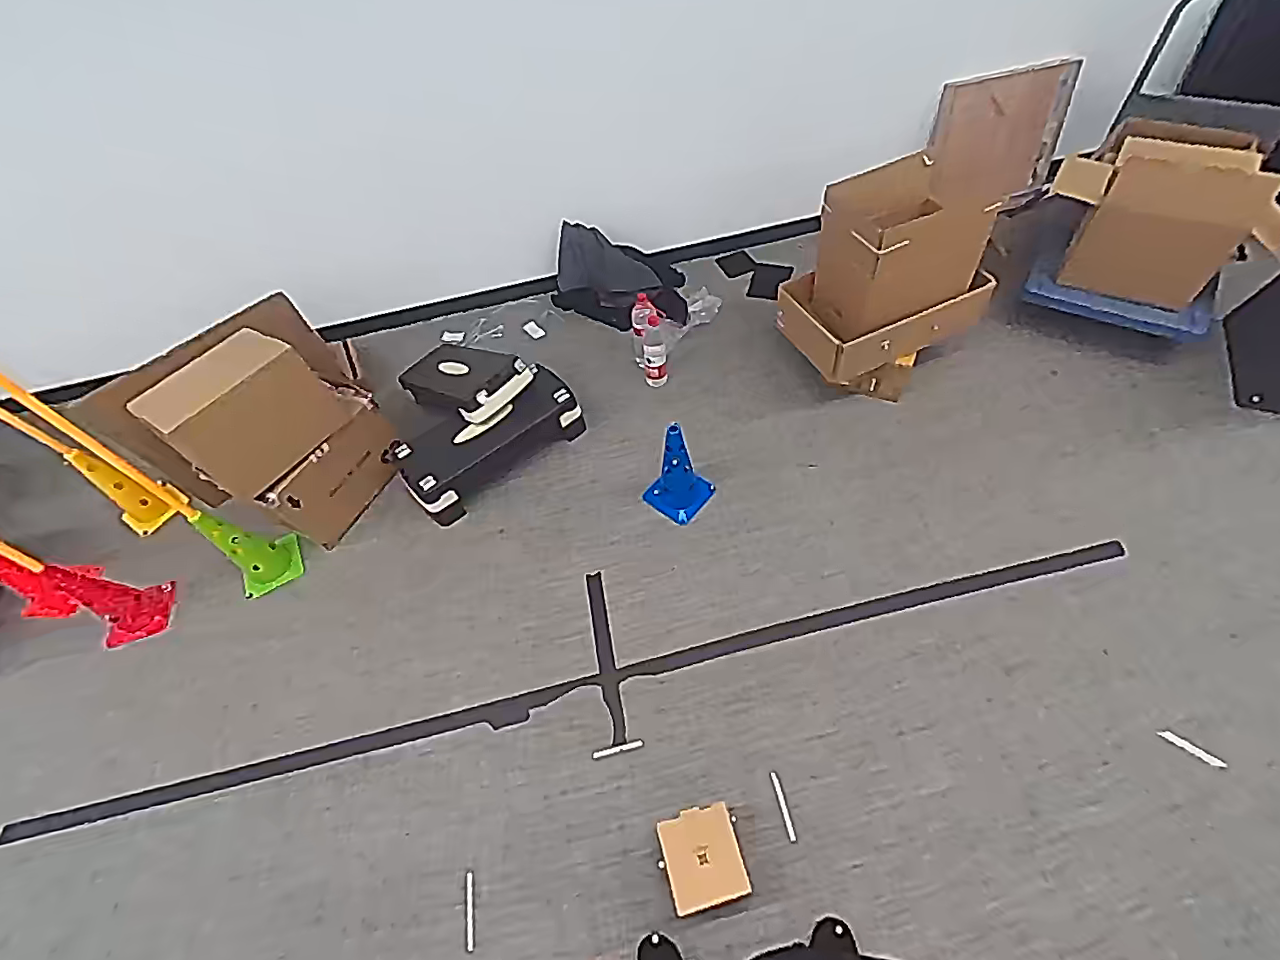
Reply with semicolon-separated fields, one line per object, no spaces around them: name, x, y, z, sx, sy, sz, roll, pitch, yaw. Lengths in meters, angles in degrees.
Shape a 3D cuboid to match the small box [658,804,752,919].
small box;0.148;0.869;1.241;0.168;0.176;0.179;-16;55;-4
